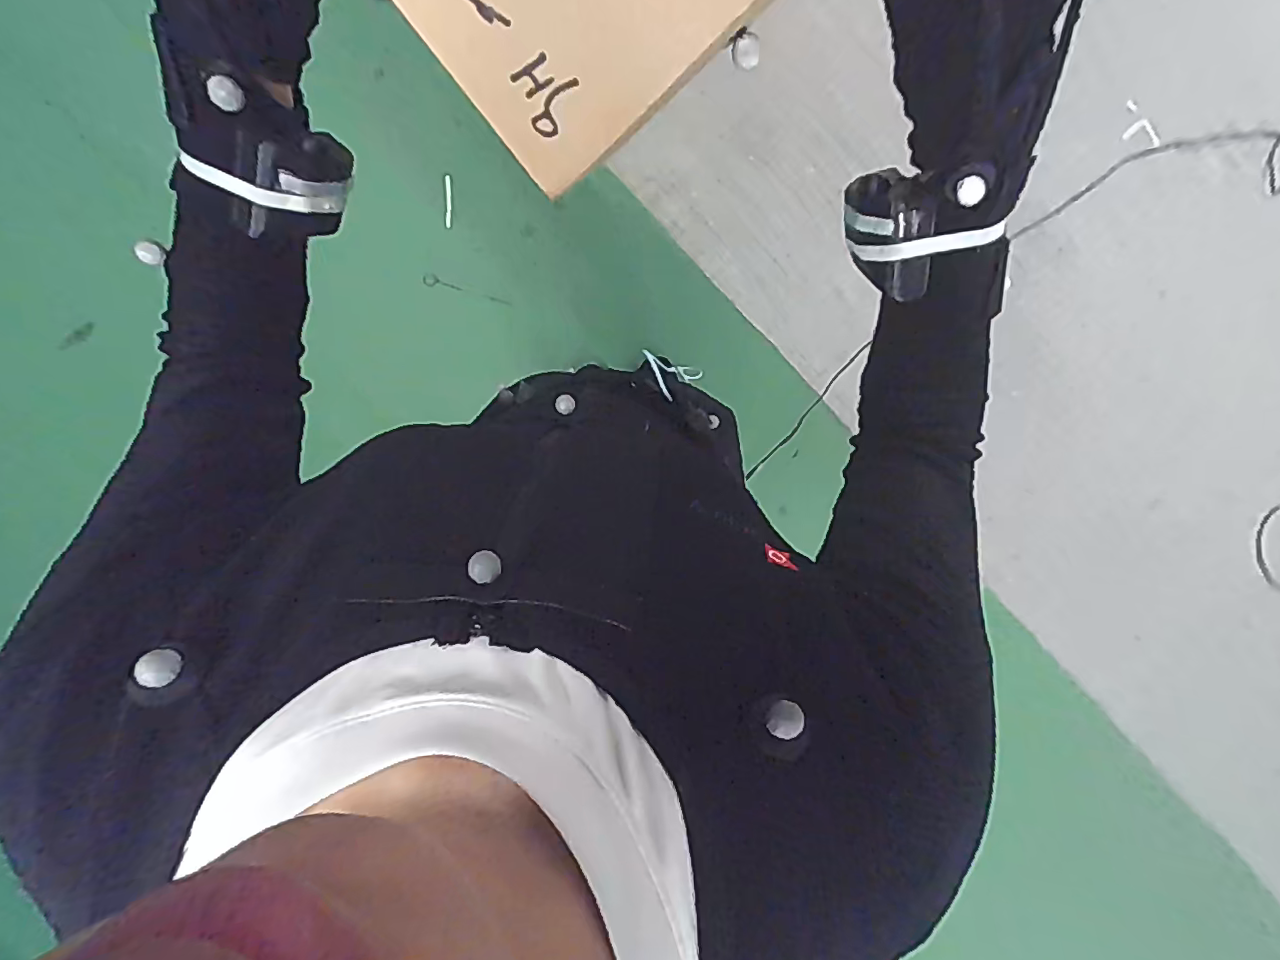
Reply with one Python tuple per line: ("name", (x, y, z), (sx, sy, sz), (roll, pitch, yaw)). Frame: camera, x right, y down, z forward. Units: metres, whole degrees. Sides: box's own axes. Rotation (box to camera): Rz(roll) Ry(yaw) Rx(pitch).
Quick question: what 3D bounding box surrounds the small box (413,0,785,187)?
("small box", (-0.006, -0.265, 0.223), (0.179, 0.176, 0.168), (-27, 118, 30))
